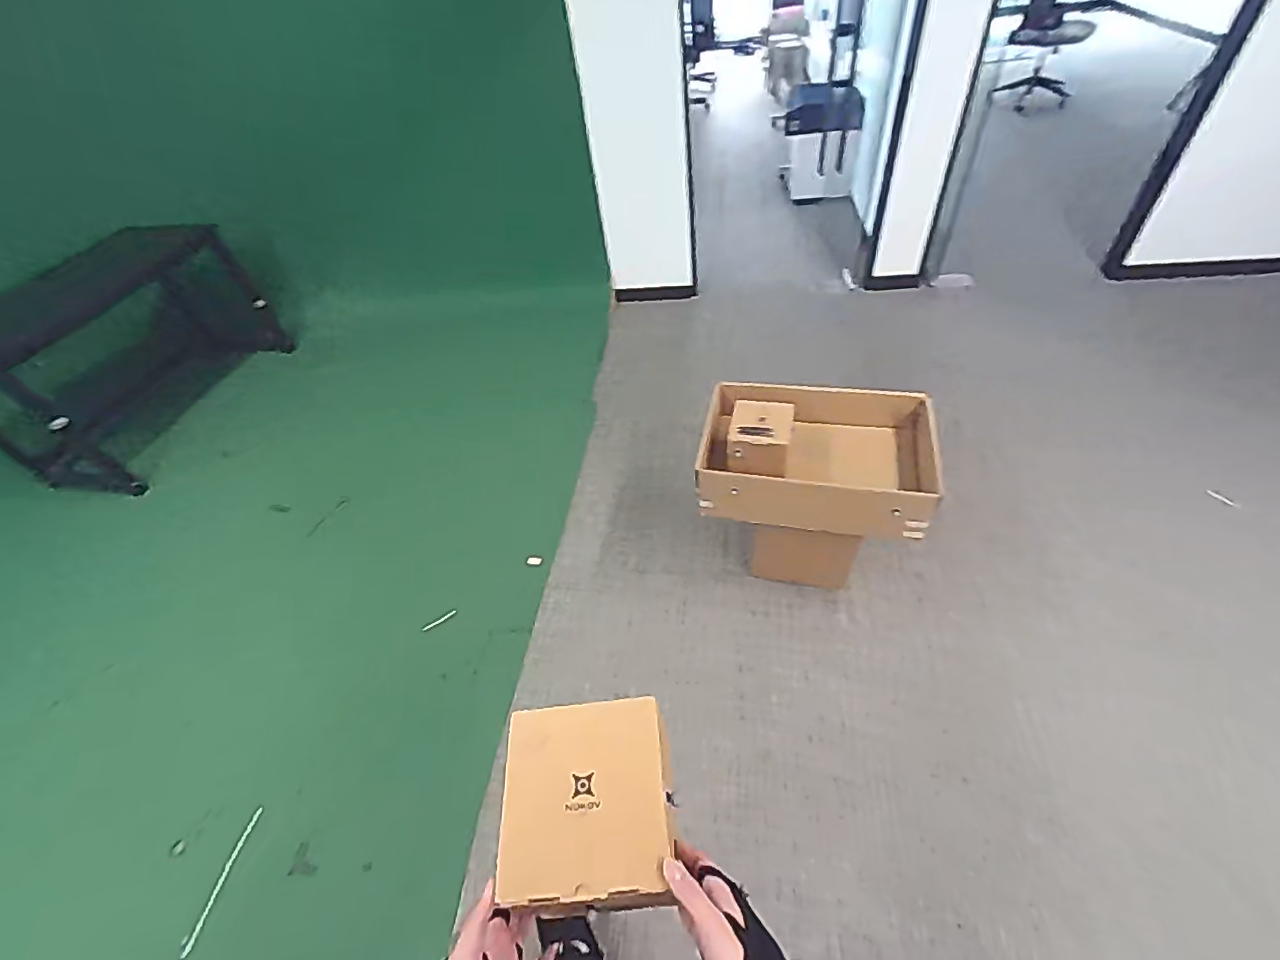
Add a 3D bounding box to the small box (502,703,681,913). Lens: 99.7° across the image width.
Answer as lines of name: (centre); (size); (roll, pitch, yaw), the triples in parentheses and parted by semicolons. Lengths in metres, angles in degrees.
small box: (-0.043, 0.370, 0.608); (0.168, 0.176, 0.179); (-5, 51, 2)
